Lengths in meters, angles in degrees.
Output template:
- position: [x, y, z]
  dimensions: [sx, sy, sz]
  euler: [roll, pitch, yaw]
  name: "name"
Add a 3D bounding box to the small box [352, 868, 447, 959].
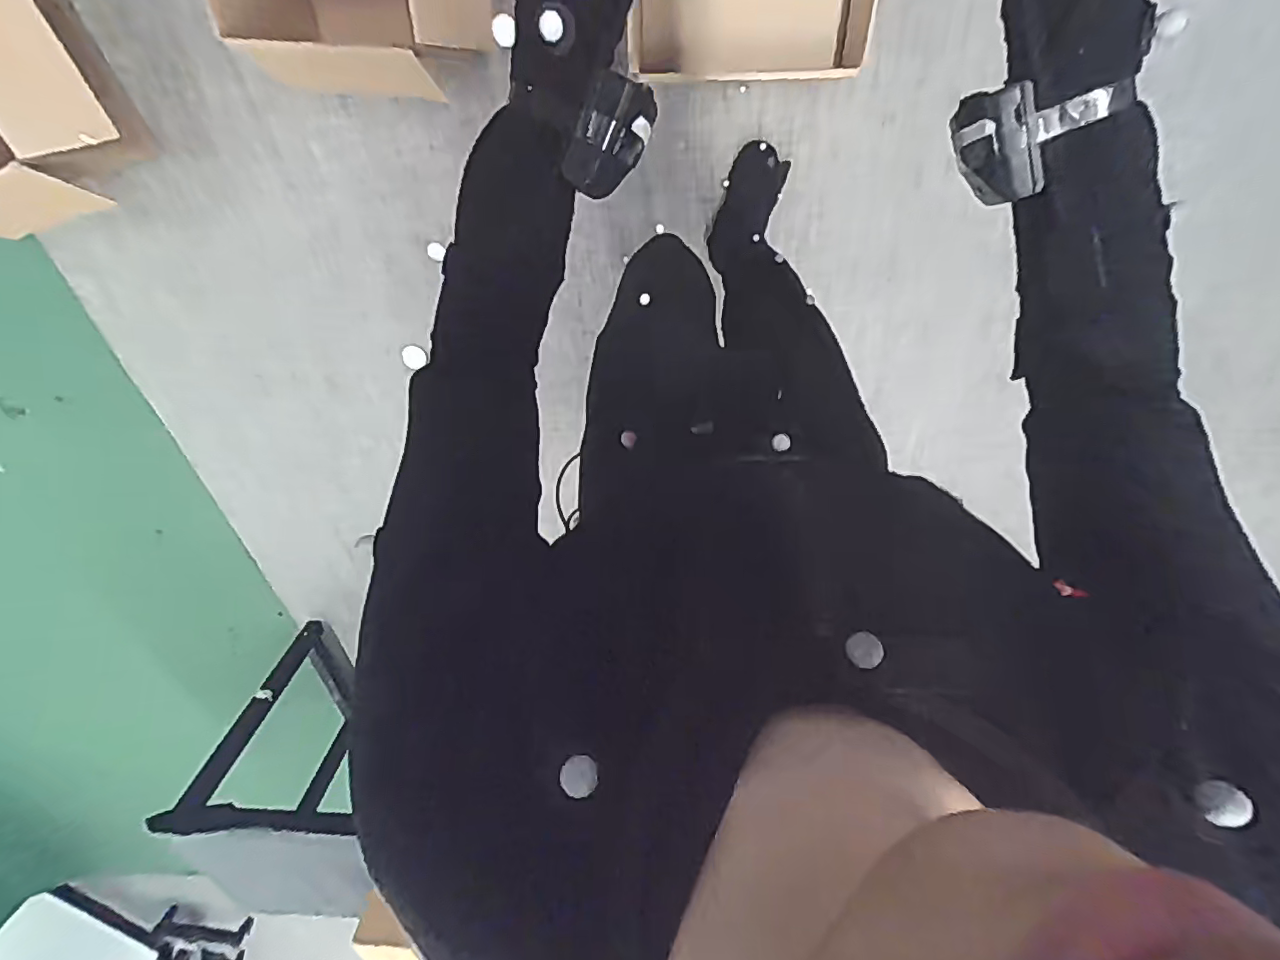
- position: [-0.661, 1.224, 1.513]
  dimensions: [0.168, 0.176, 0.179]
  euler: [1, 124, 4]
  name: "small box"
